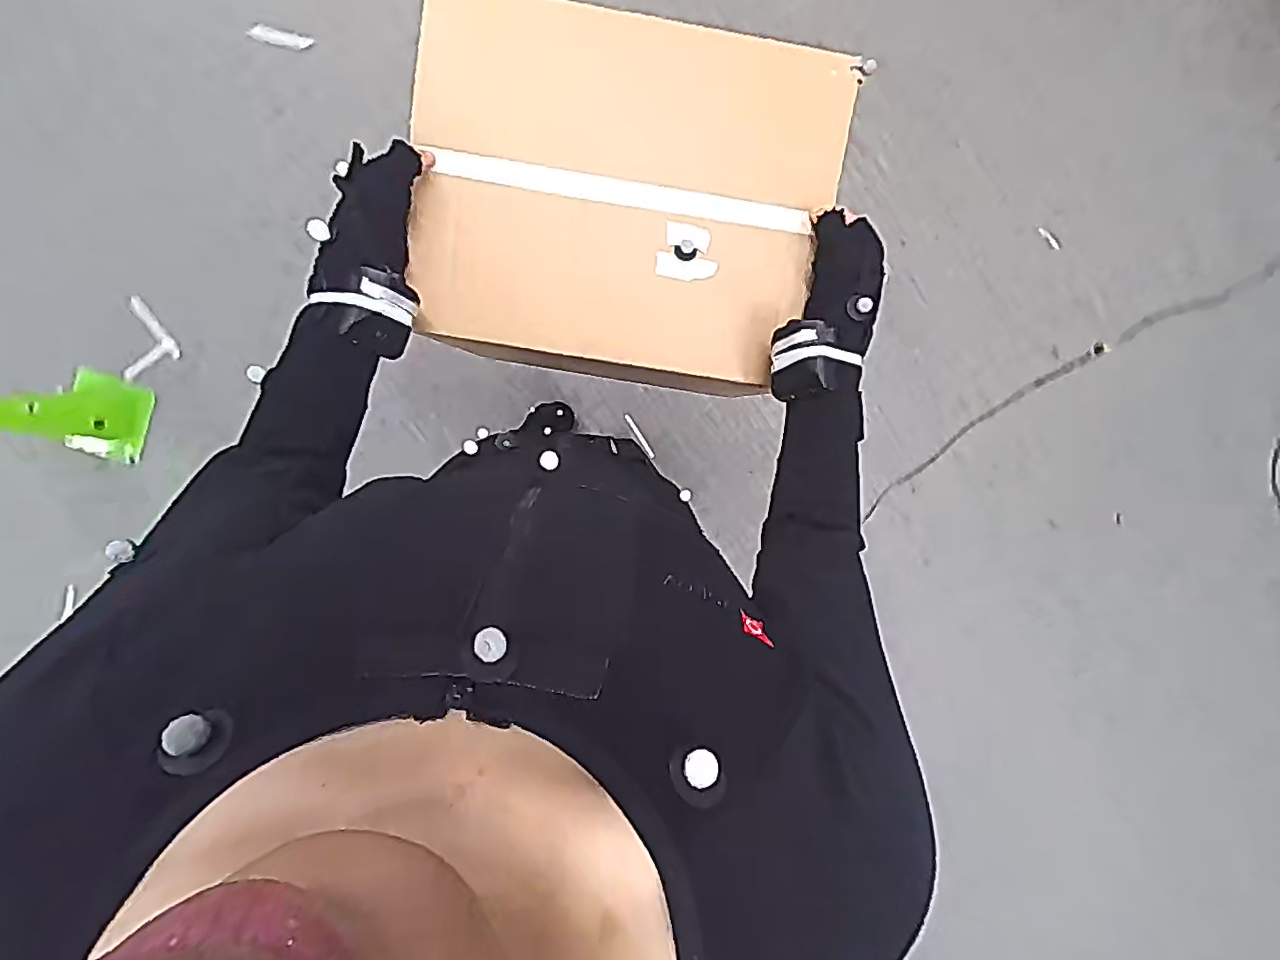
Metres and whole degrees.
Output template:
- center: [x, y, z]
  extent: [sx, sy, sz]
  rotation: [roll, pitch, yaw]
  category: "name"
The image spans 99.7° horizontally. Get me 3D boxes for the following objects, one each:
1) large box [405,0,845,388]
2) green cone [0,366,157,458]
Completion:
- center: [-0.025, -0.295, 0.667]
  extent: [0.408, 0.320, 0.320]
  rotation: [7, 98, -3]
  category: "large box"
- center: [-1.367, -0.163, 1.234]
  extent: [0.202, 0.368, 0.200]
  rotation: [19, 94, -2]
  category: "green cone"
